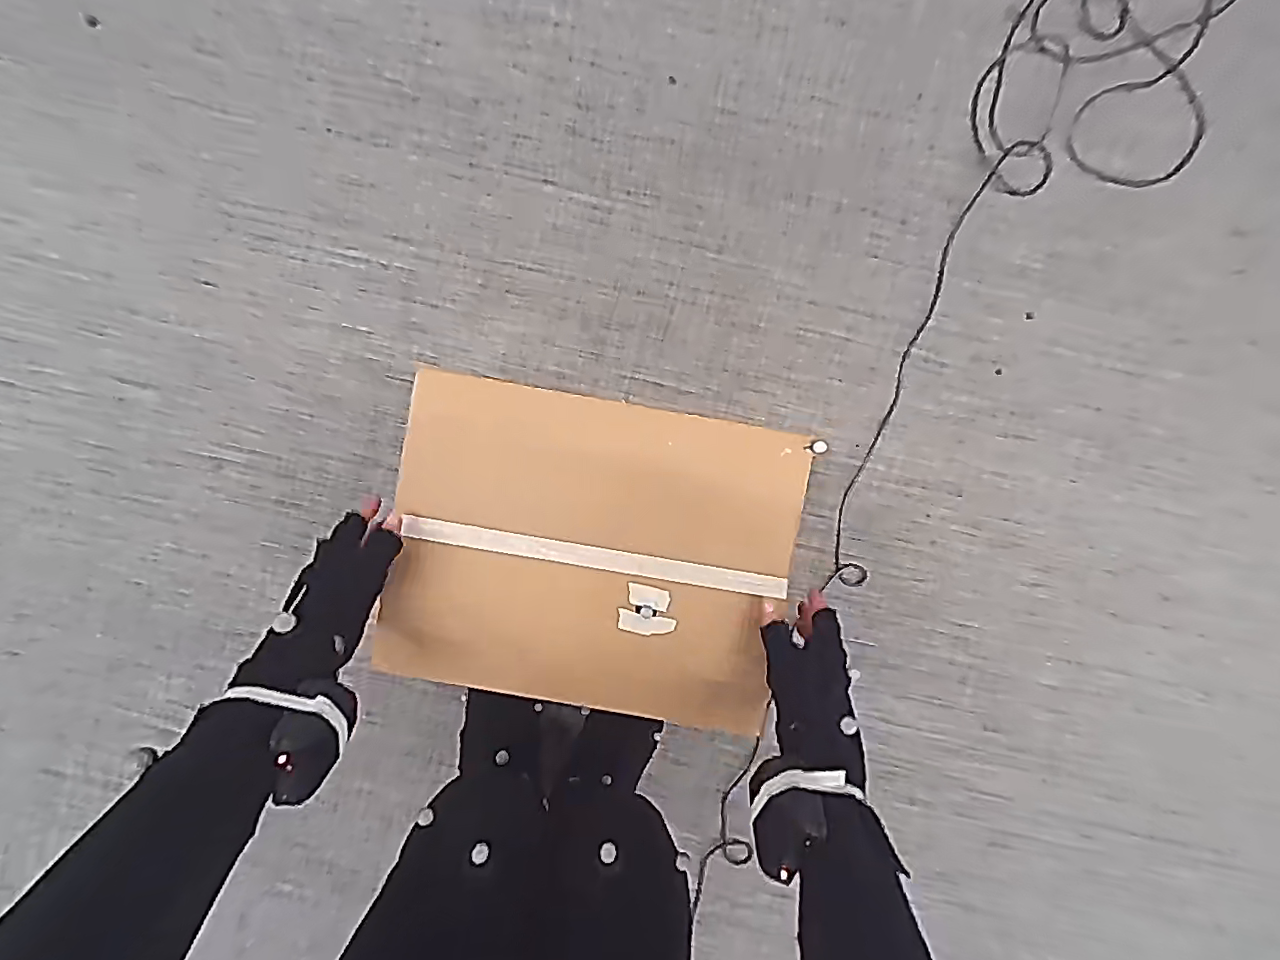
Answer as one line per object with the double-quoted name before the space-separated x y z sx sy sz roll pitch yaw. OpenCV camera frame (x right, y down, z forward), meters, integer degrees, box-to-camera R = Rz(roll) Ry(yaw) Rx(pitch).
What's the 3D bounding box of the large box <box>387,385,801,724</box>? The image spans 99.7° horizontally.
"large box" -0.053 0.077 0.714 0.408 0.320 0.320 9 92 -1
